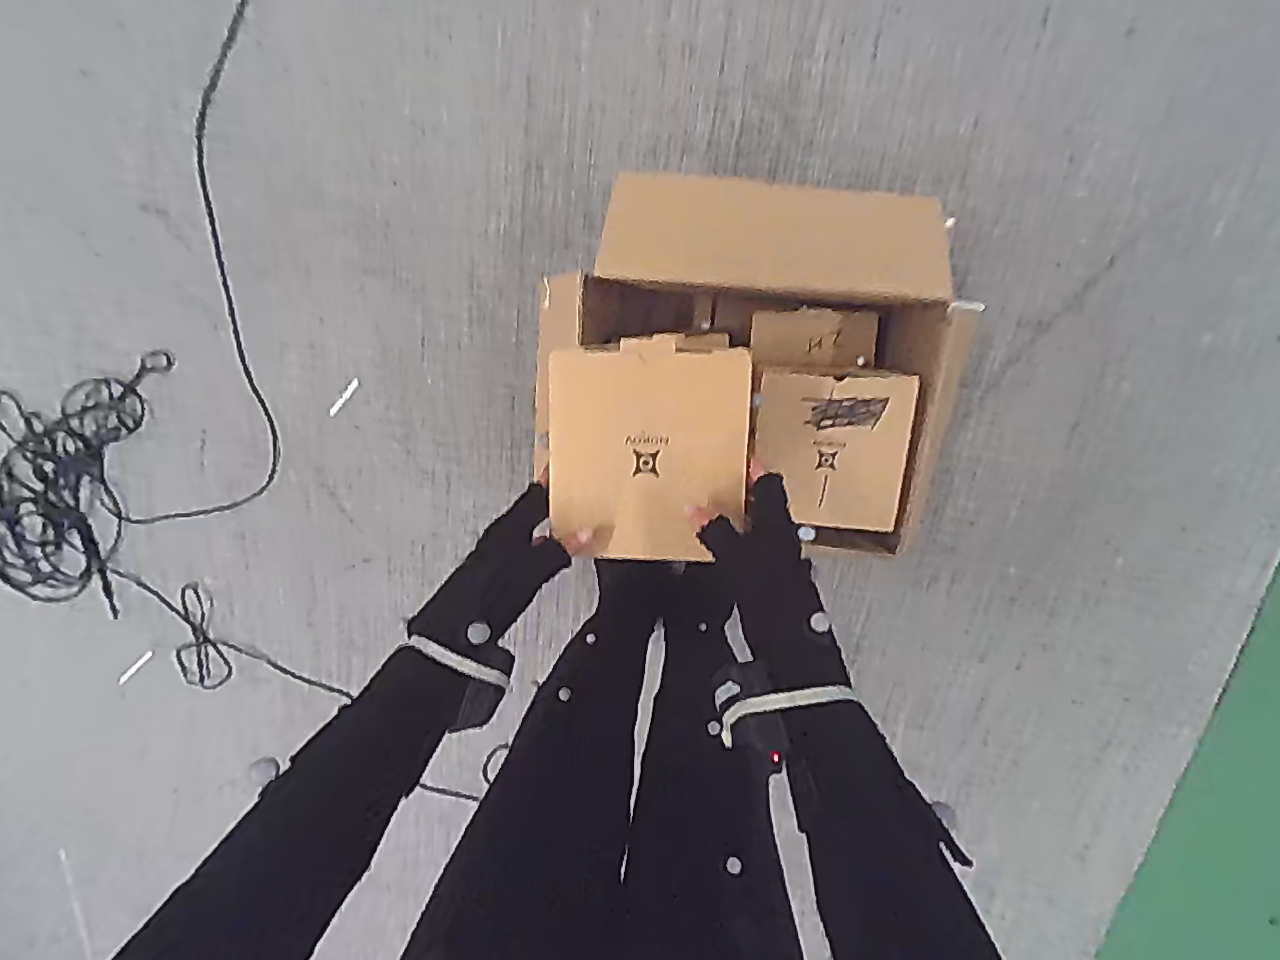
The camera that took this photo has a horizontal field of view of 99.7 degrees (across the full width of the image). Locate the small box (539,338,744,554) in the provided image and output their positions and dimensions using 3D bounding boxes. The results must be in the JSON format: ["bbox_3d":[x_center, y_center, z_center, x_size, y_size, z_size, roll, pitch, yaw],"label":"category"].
[{"bbox_3d":[0.005,-0.040,0.519,0.168,0.176,0.179,1,99,4],"label":"small box"}]
